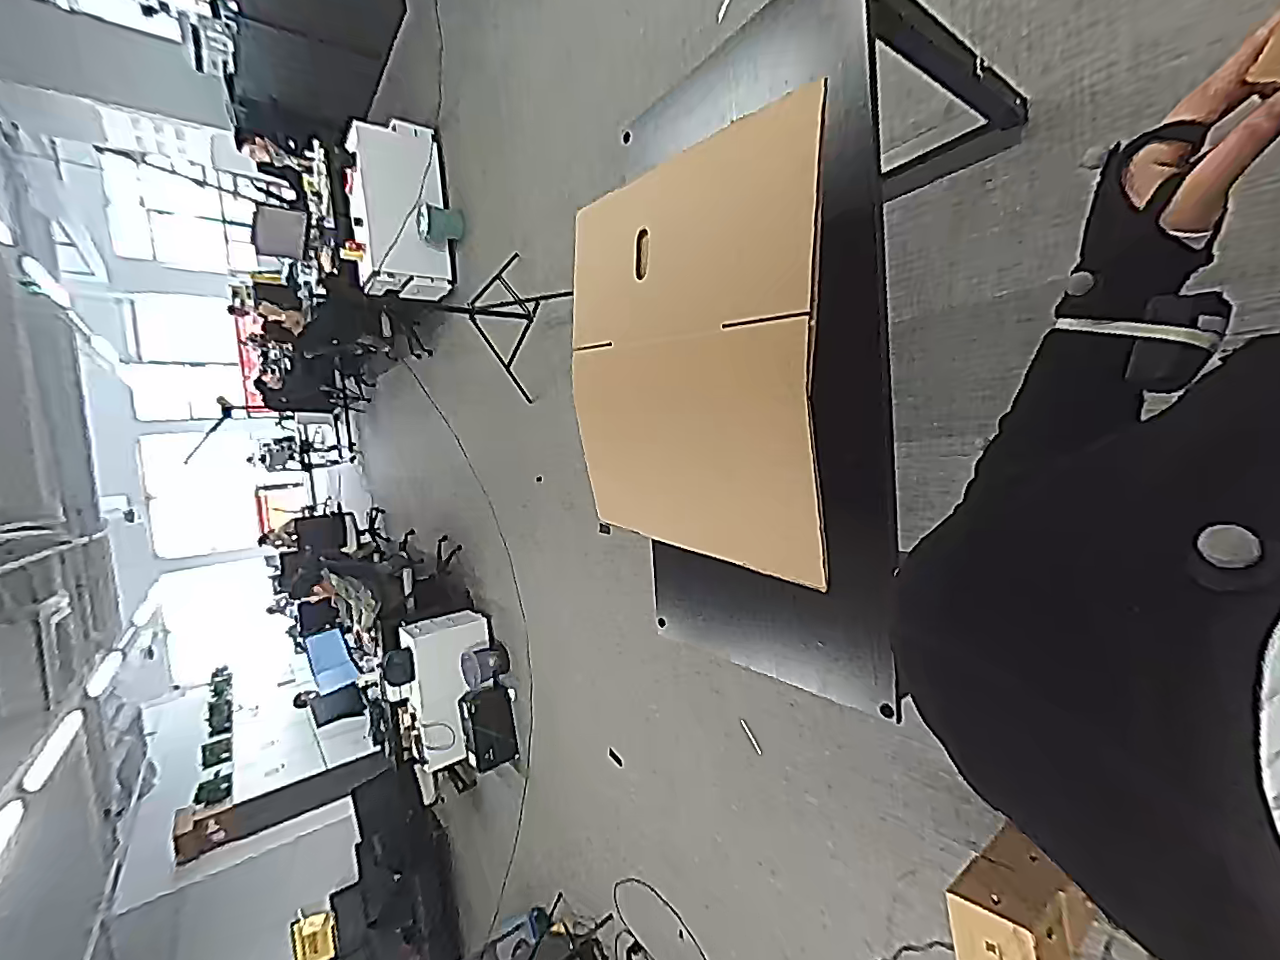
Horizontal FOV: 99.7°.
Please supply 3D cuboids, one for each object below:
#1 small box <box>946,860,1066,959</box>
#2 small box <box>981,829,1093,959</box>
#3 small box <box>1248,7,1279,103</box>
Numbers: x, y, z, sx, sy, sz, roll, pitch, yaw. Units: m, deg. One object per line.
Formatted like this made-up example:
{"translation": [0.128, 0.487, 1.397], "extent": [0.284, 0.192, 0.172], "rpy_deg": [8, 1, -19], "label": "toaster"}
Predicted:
{"translation": [0.830, 1.007, 1.220], "extent": [0.179, 0.176, 0.168], "rpy_deg": [-11, 86, 54], "label": "small box"}
{"translation": [0.962, 0.990, 1.312], "extent": [0.179, 0.176, 0.168], "rpy_deg": [-5, 92, 52], "label": "small box"}
{"translation": [0.461, -0.272, 0.253], "extent": [0.168, 0.176, 0.179], "rpy_deg": [42, 135, 36], "label": "small box"}
